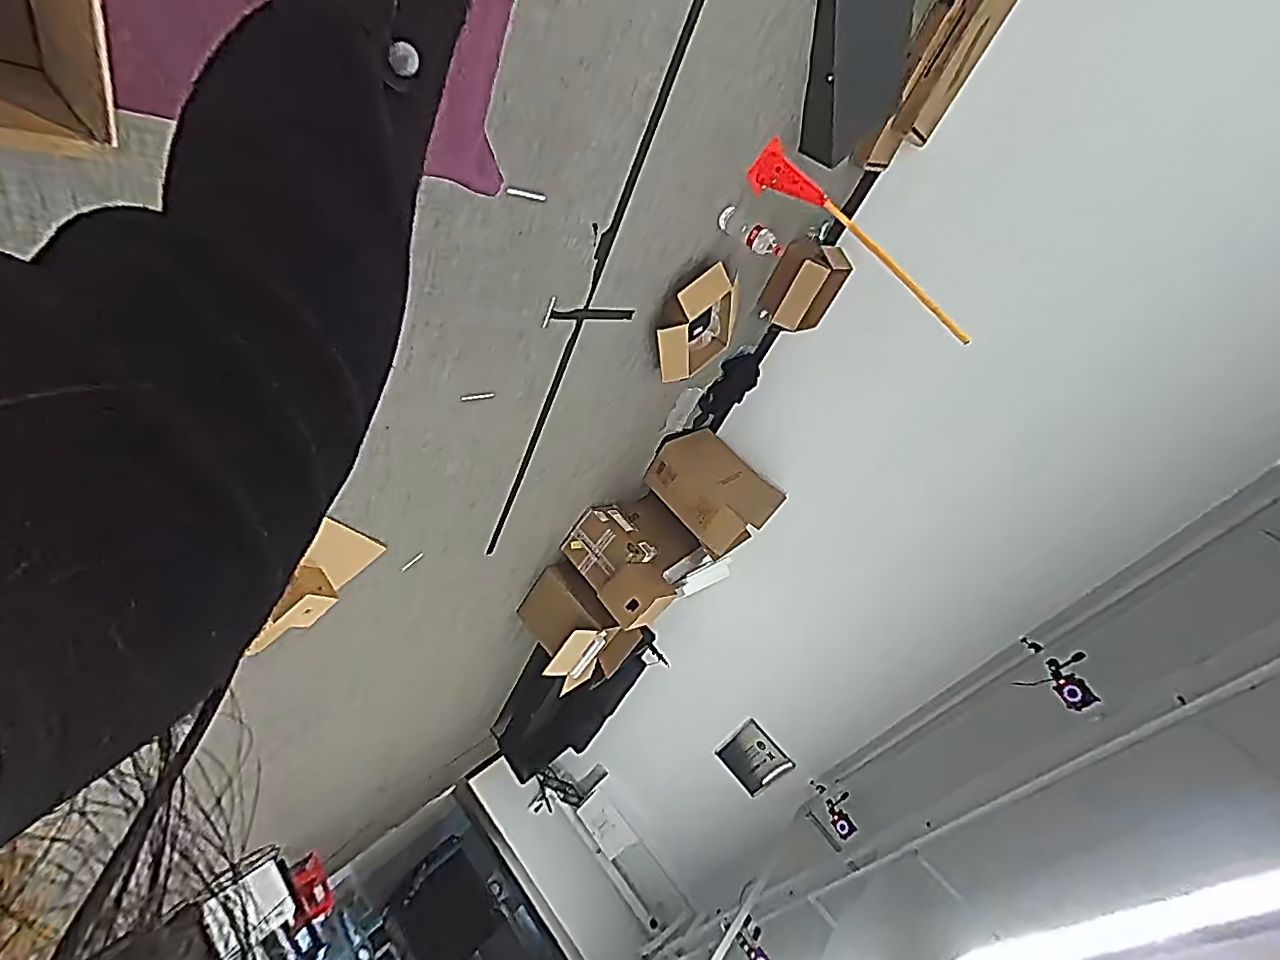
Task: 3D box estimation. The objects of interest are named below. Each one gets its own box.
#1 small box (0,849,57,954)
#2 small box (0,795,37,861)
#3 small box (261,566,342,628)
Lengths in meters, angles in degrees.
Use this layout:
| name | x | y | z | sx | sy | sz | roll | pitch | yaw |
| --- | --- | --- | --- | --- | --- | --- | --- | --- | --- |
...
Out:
| name | x | y | z | sx | sy | sz | roll | pitch | yaw |
| --- | --- | --- | --- | --- | --- | --- | --- | --- | --- |
| small box | -1.651 | 1.098 | 1.389 | 0.168 | 0.176 | 0.179 | -18 | 144 | -50 |
| small box | -1.756 | 0.984 | 1.443 | 0.168 | 0.176 | 0.179 | -15 | 144 | -53 |
| small box | -1.324 | 0.457 | 2.115 | 0.168 | 0.176 | 0.179 | -43 | 158 | -4 |
